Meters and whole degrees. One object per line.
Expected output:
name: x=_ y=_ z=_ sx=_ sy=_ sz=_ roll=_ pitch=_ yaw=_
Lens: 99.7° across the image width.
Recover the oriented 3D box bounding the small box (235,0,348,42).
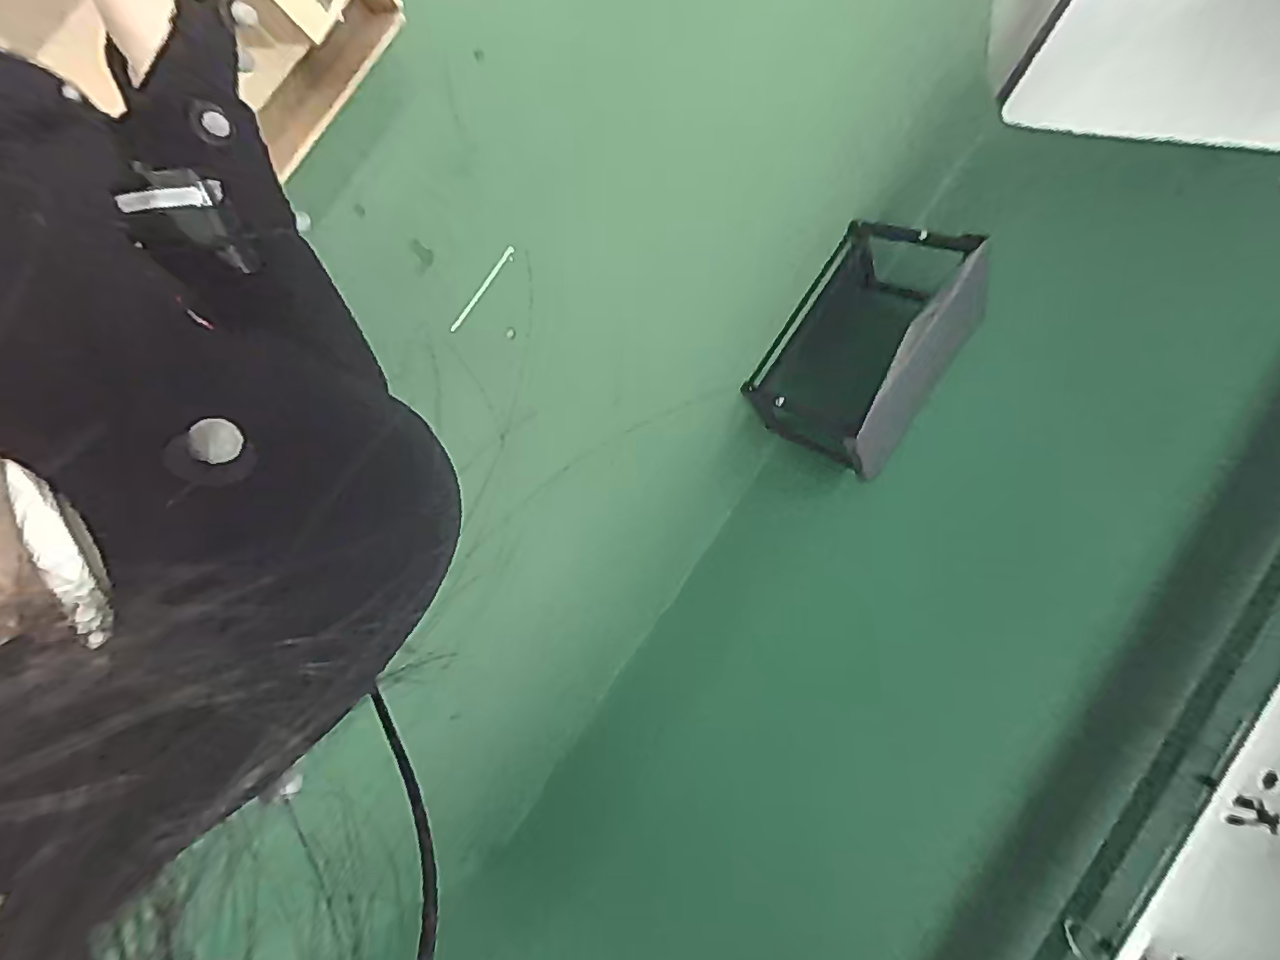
small box: x=-0.548 y=-0.795 z=0.804 sx=0.168 sy=0.176 sz=0.179 roll=-57 pitch=146 yaw=-1
